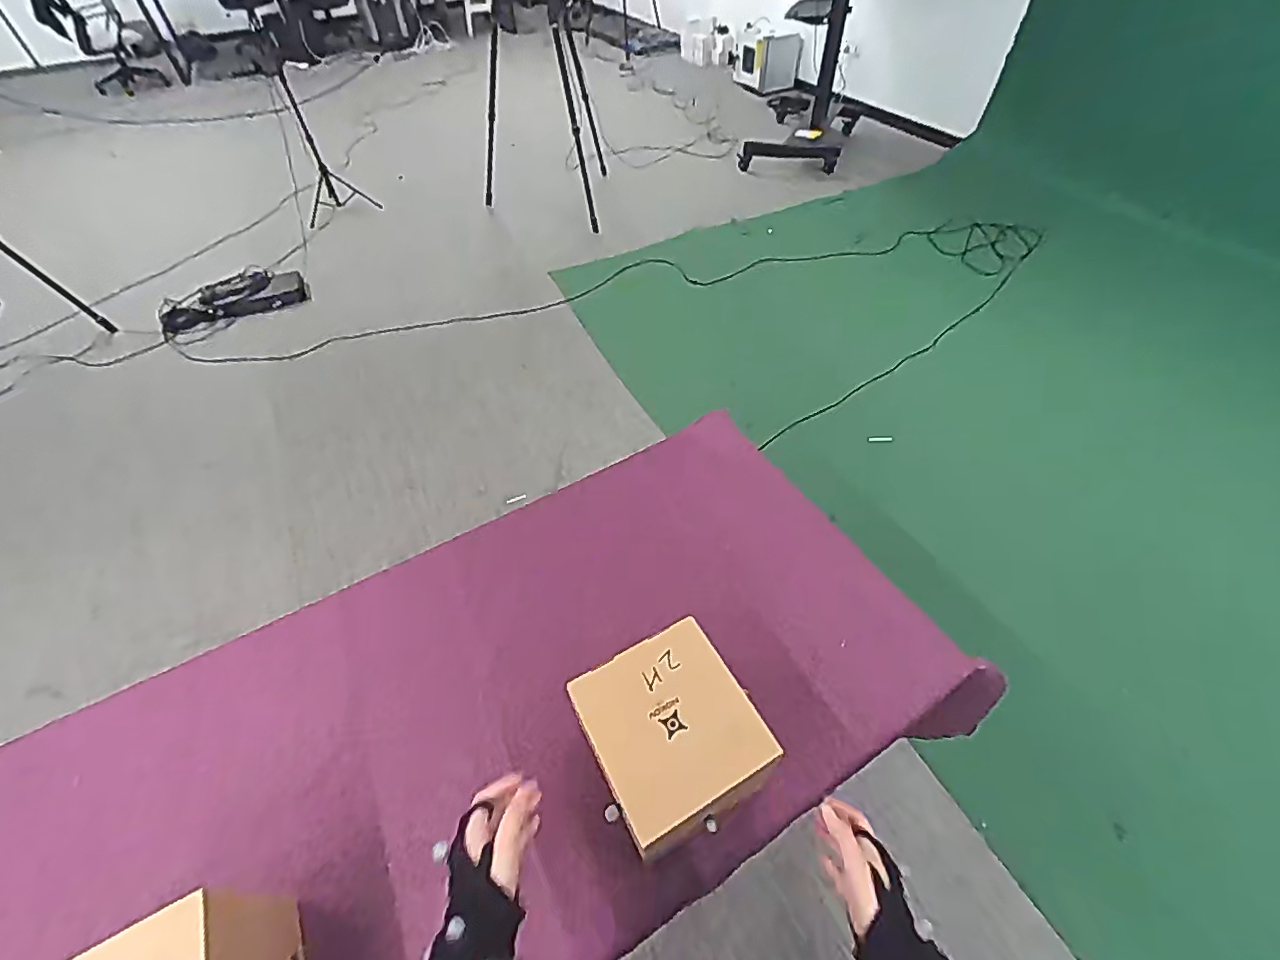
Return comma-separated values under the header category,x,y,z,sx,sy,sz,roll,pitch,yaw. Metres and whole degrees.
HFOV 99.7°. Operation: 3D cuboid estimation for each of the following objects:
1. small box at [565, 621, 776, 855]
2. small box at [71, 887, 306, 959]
category,x,y,z,sx,sy,sz,roll,pitch,yaw
small box,0.031,0.304,0.630,0.168,0.176,0.179,-23,53,-17
small box,-0.427,0.508,0.481,0.179,0.176,0.168,-24,53,-18
